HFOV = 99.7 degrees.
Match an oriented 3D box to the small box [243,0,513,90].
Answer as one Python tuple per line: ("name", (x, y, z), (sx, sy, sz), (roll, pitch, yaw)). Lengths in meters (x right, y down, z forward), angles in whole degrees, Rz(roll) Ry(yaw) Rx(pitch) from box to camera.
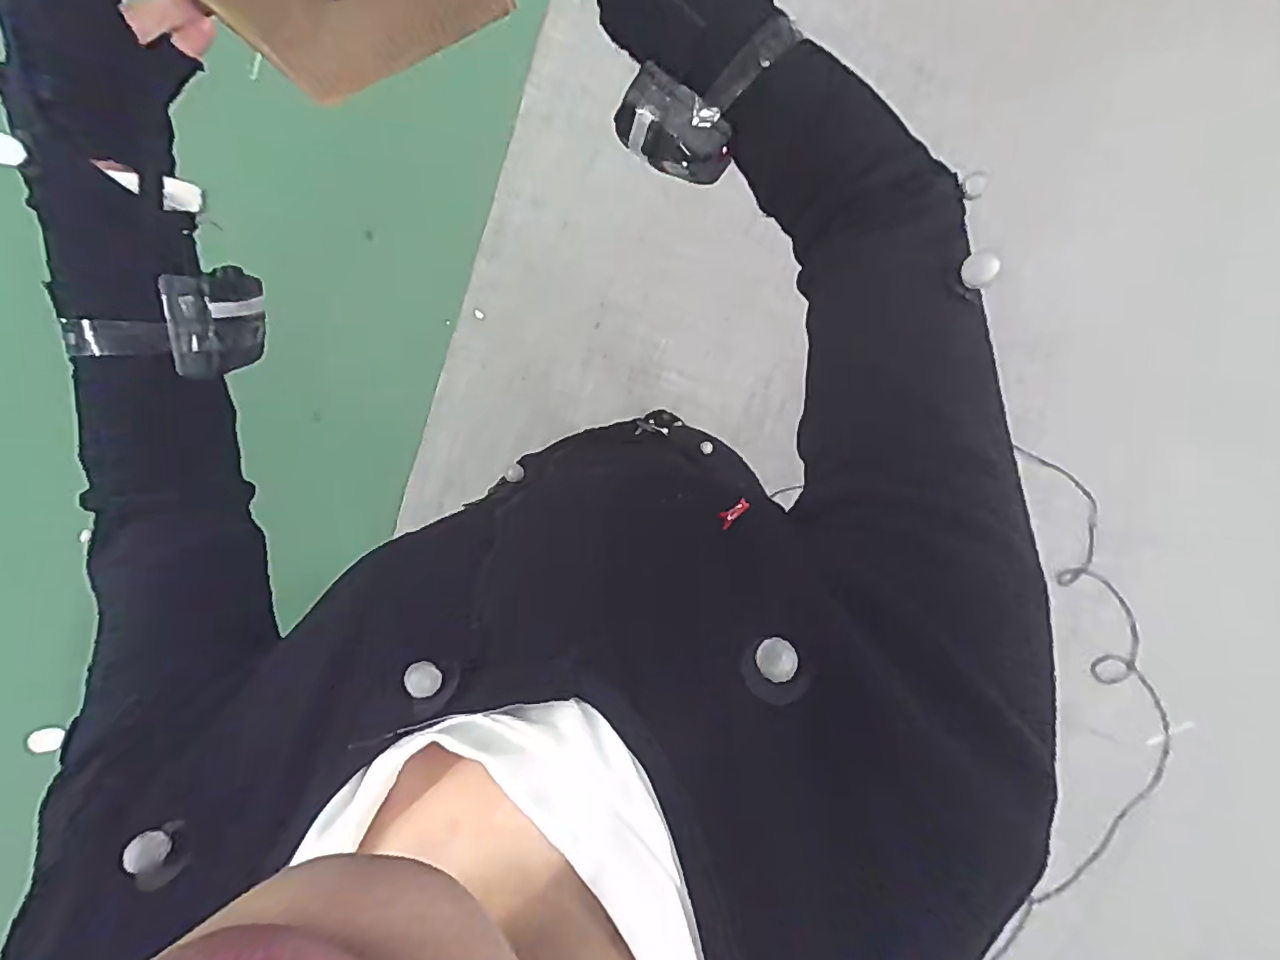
("small box", (-0.197, -0.396, 0.334), (0.179, 0.176, 0.168), (-22, 95, 6))
